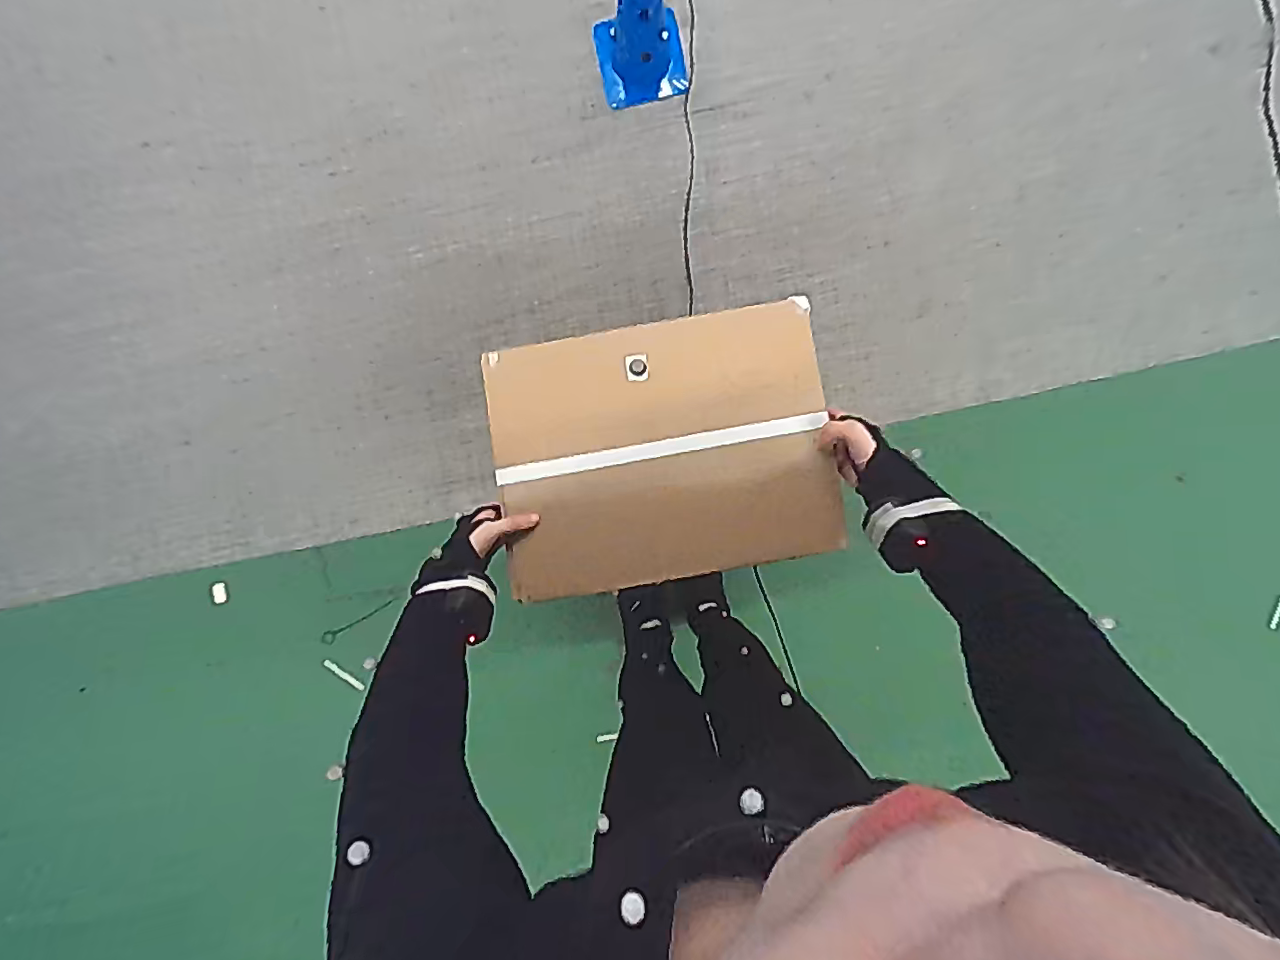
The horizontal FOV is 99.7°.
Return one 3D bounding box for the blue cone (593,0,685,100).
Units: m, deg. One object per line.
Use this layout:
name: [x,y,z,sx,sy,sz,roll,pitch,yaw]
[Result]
blue cone: [-0.003,-0.984,1.094,0.193,0.380,0.192,-15,94,2]
